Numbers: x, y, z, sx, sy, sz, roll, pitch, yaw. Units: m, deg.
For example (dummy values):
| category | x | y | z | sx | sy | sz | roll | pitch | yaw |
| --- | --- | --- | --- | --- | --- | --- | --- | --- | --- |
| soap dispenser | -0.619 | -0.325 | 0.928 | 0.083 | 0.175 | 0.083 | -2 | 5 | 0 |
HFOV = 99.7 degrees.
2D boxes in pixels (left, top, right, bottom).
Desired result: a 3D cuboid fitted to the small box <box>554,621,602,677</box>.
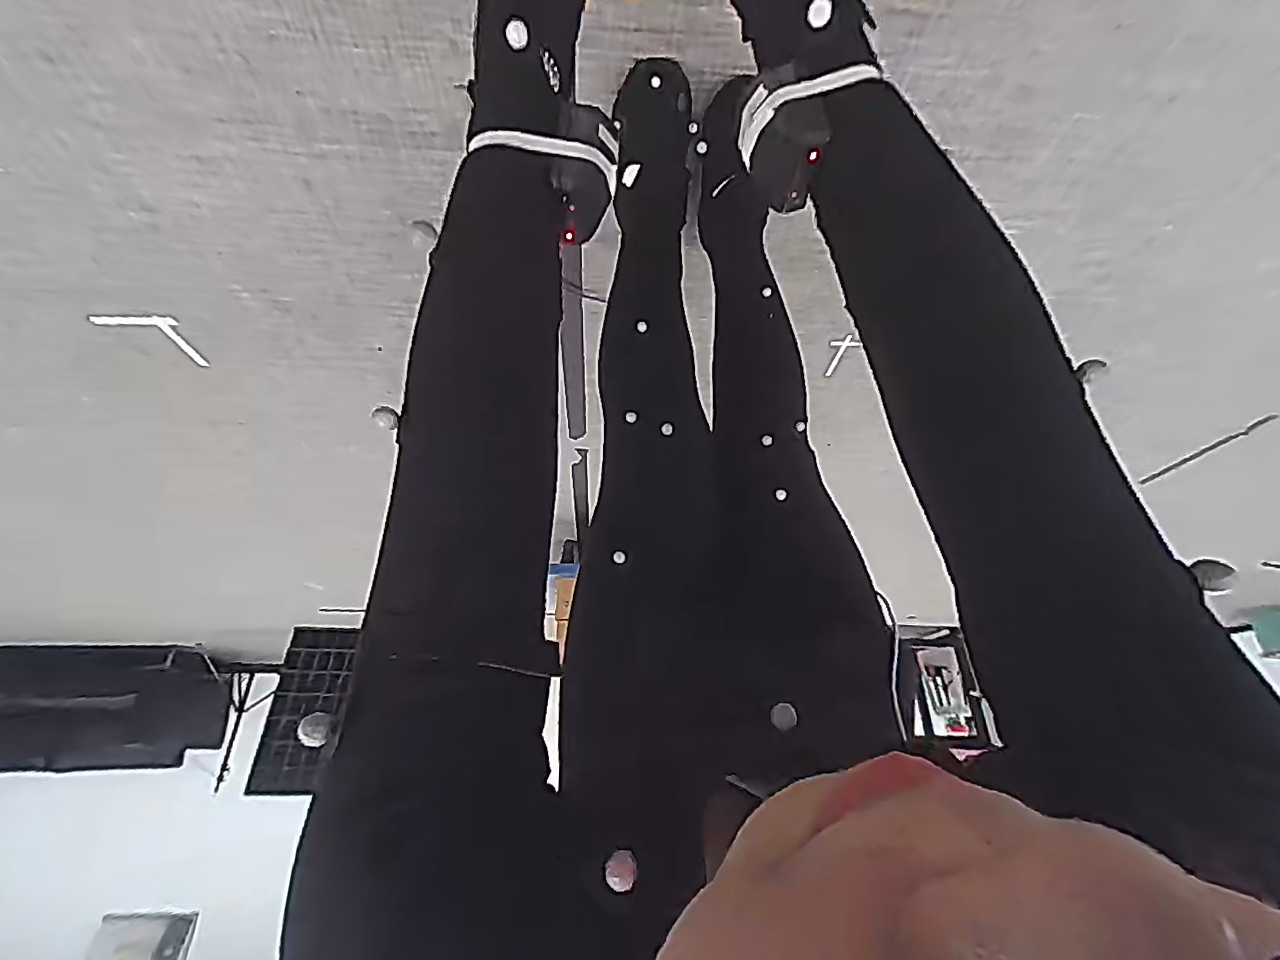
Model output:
| category | x | y | z | sx | sy | sz | roll | pitch | yaw |
| --- | --- | --- | --- | --- | --- | --- | --- | --- | --- |
| small box | -0.229 | 0.632 | 2.015 | 0.168 | 0.176 | 0.179 | 3 | 152 | -5 |
